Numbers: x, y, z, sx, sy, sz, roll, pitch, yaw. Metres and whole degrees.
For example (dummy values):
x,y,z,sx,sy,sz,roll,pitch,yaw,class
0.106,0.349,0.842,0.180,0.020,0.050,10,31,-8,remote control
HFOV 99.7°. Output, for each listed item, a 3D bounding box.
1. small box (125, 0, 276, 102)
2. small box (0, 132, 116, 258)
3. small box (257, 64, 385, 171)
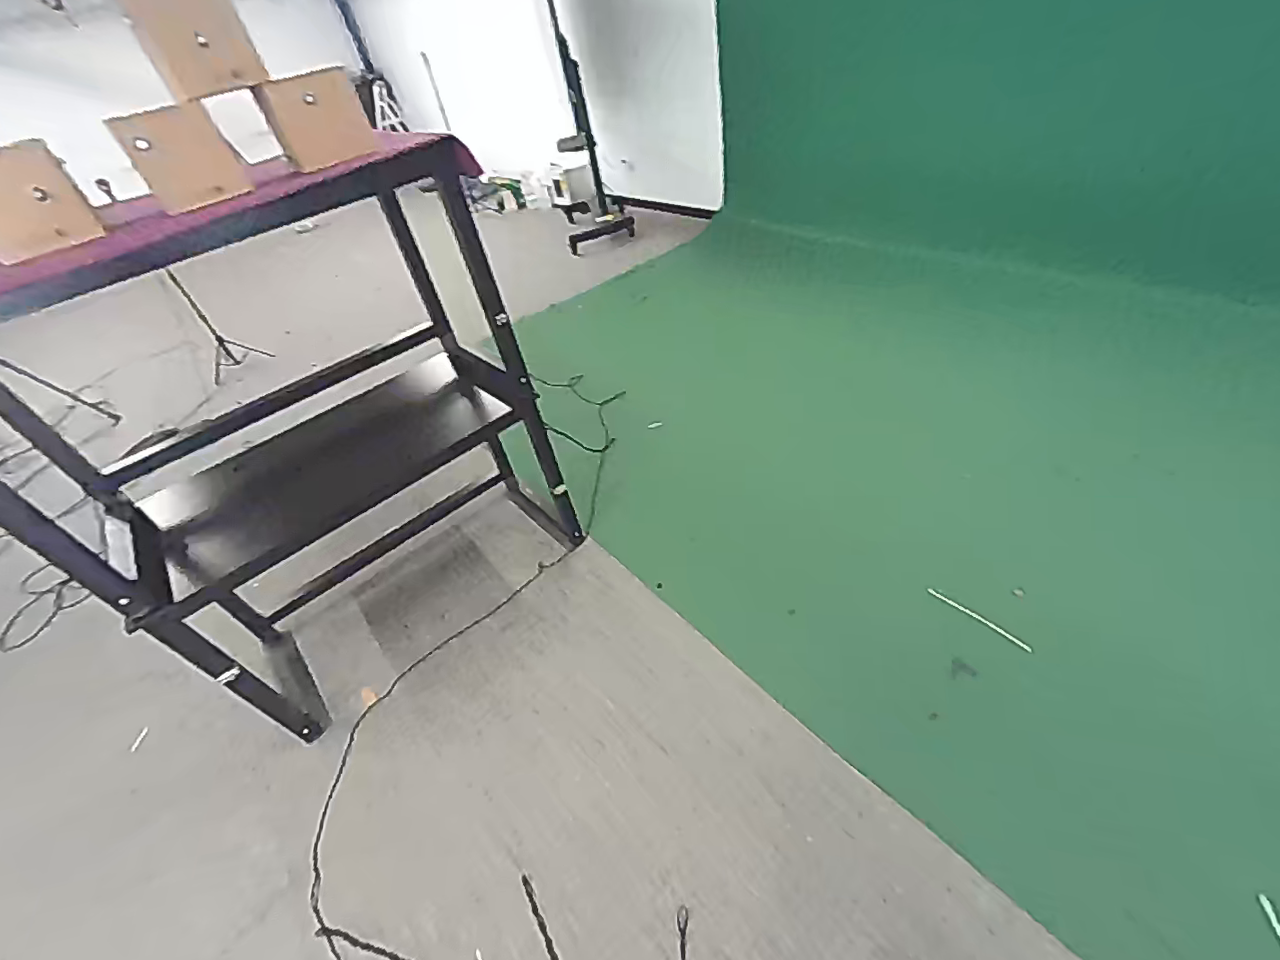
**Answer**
x,y,z,sx,sy,sz,roll,pitch,yaw,class
-0.863,-0.870,1.073,0.168,0.176,0.179,-36,45,-25,small box
-1.137,-0.532,1.012,0.168,0.176,0.179,-33,44,-23,small box
-0.724,-0.823,1.235,0.179,0.176,0.168,-35,45,-23,small box
